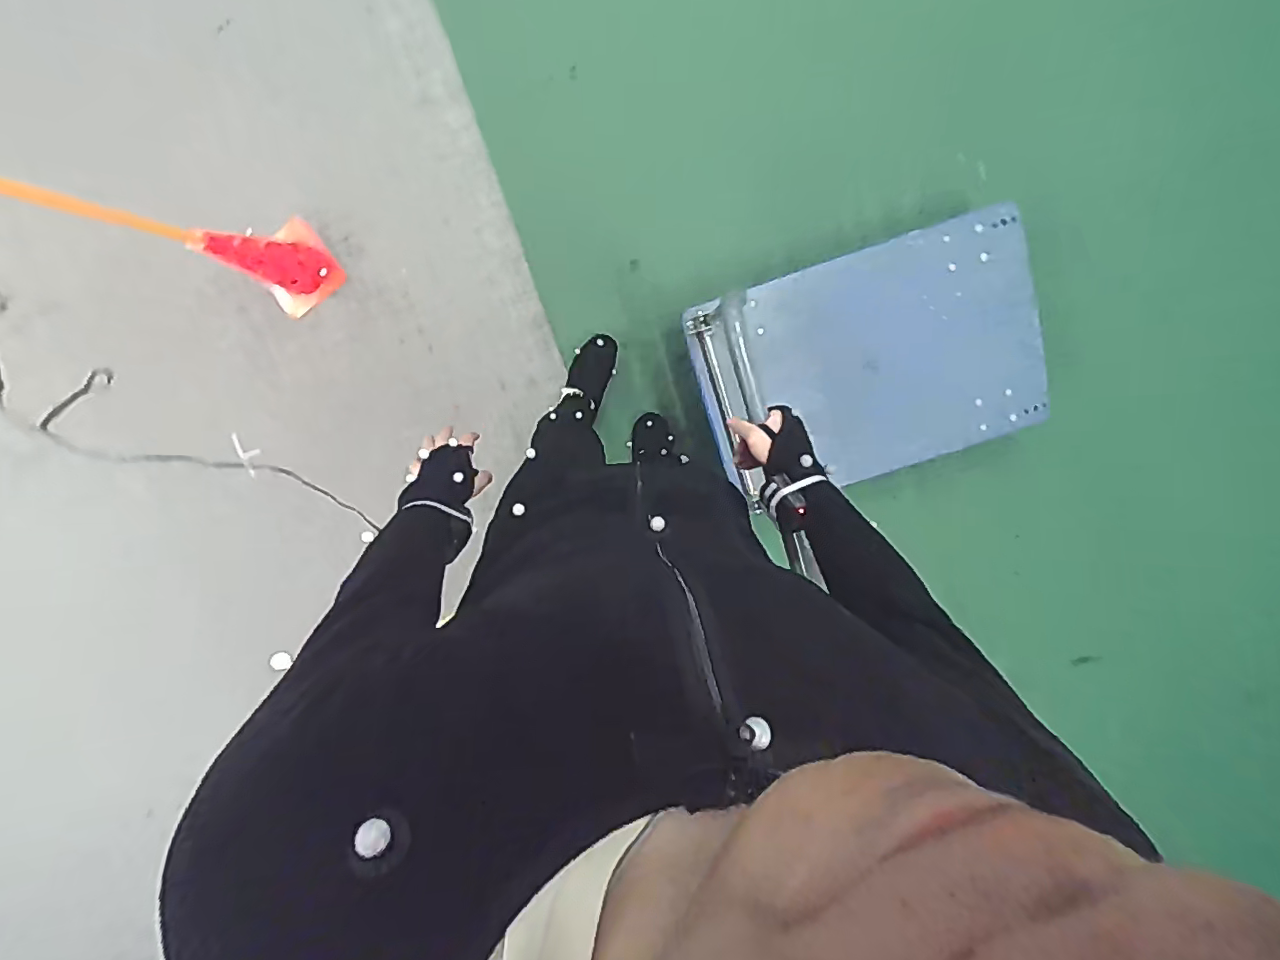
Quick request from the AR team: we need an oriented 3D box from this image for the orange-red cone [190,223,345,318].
[{"bbox_3d":[-0.935,-0.542,1.314,0.198,0.360,0.199,-33,99,5],"label":"orange-red cone"}]
